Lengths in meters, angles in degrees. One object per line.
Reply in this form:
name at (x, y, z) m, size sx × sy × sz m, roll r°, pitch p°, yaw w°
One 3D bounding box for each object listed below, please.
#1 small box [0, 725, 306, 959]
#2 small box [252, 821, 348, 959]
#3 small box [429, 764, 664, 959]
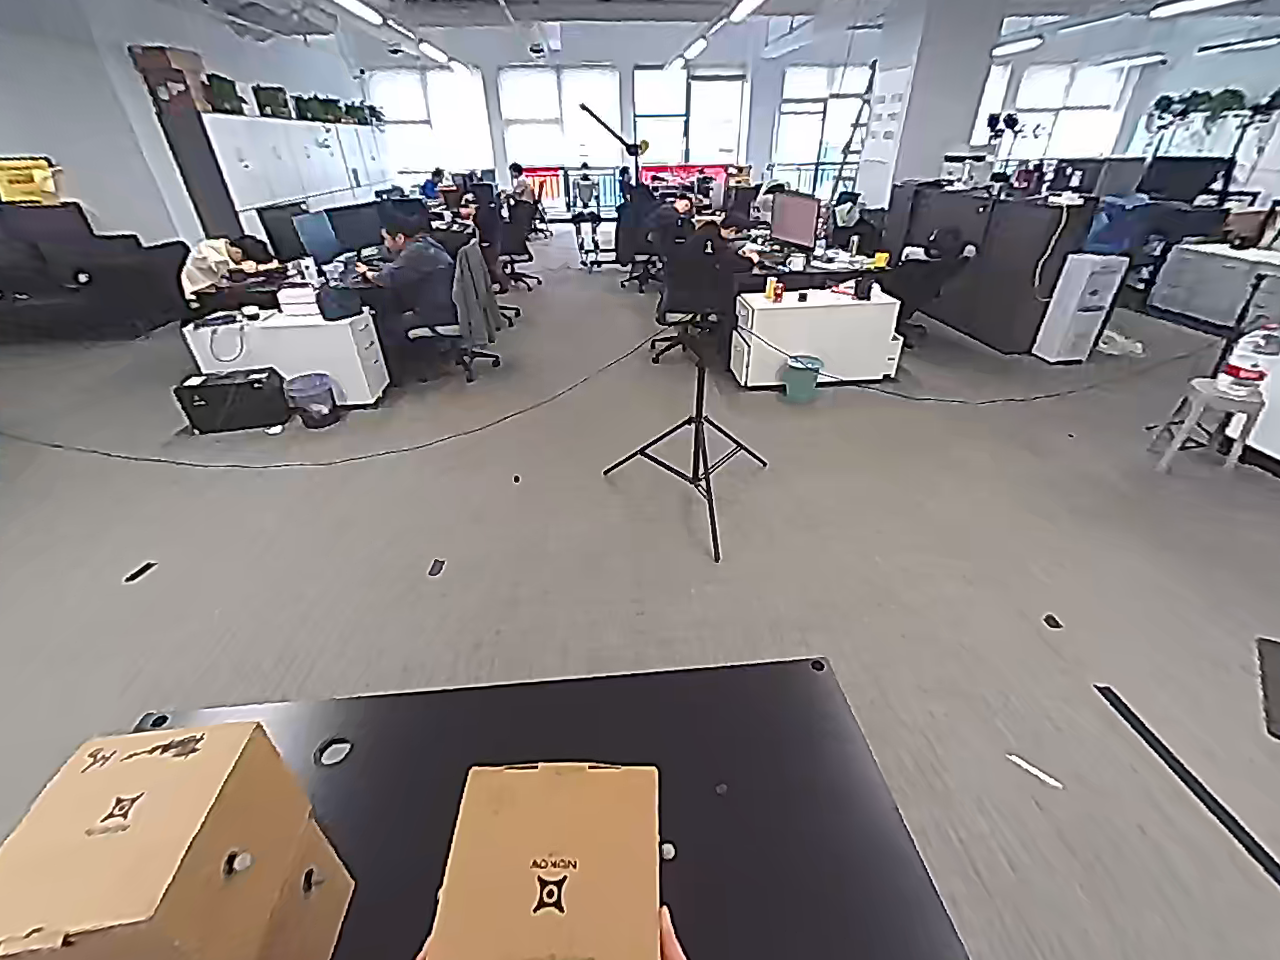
small box at (-0.458, 0.371, 0.520) m, size 0.168 × 0.176 × 0.179 m, roll -4°, pitch 32°, yaw -5°
small box at (-0.451, 0.516, 0.598) m, size 0.168 × 0.176 × 0.179 m, roll -3°, pitch 32°, yaw -2°
small box at (-0.064, 0.367, 0.460) m, size 0.168 × 0.176 × 0.179 m, roll -1°, pitch 40°, yaw 1°
